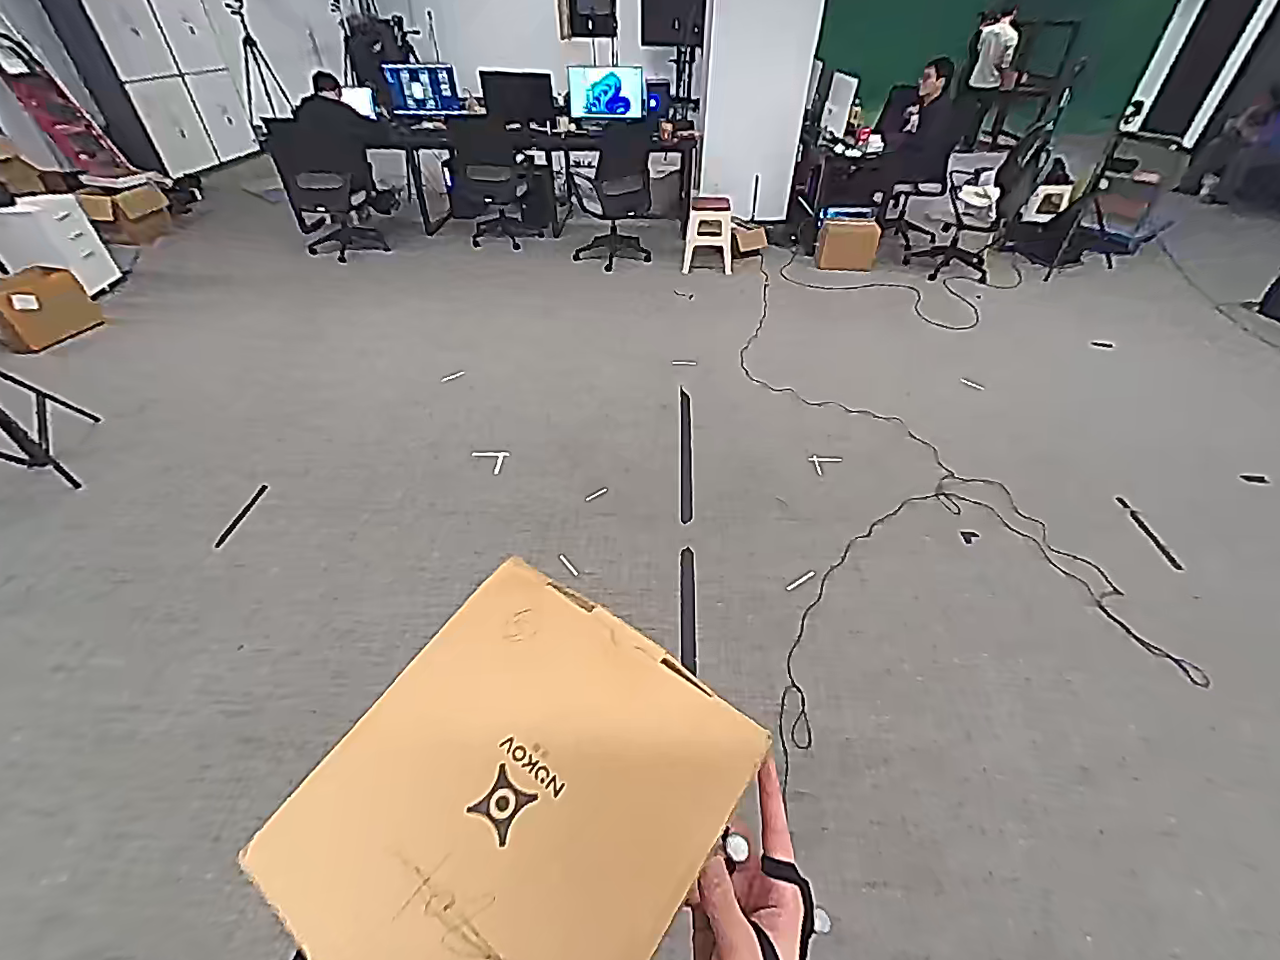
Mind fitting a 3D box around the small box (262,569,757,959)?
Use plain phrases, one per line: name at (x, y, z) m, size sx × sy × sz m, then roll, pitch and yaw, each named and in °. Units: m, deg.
small box at (-0.051, 0.190, 0.314) m, size 0.168 × 0.176 × 0.179 m, roll 27°, pitch 64°, yaw 23°
